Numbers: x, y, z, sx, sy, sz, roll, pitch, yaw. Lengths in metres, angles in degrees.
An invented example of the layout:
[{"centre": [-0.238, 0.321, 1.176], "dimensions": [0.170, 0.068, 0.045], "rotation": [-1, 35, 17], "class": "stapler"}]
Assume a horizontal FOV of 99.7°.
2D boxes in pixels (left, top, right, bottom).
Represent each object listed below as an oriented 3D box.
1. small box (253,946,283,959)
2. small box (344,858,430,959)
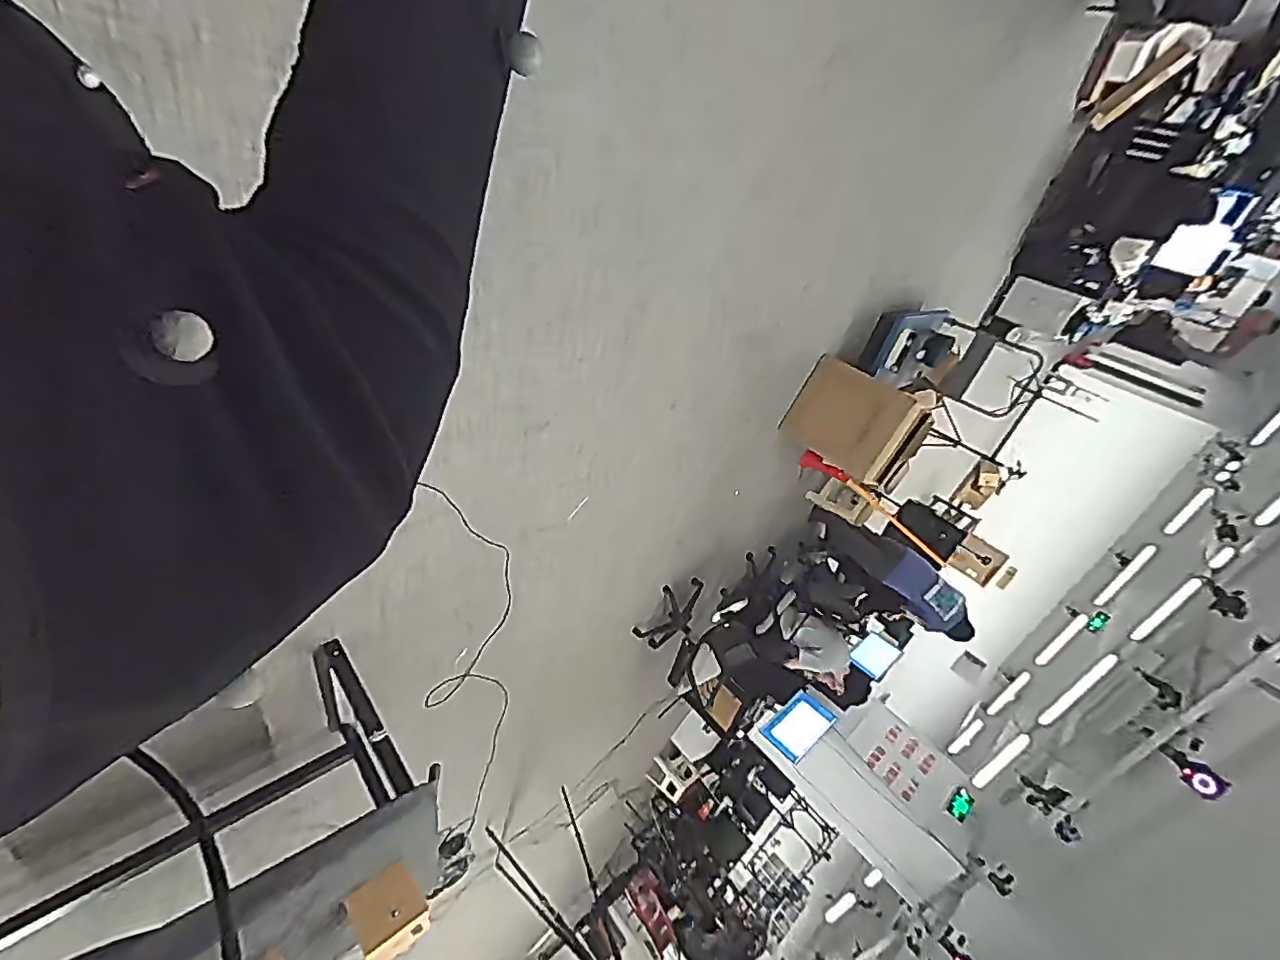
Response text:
[{"centre": [-0.970, 1.329, 1.353], "dimensions": [0.168, 0.176, 0.179], "rotation": [-19, 136, -41], "class": "small box"}, {"centre": [-0.732, 1.253, 1.570], "dimensions": [0.179, 0.176, 0.168], "rotation": [-20, 137, -38], "class": "small box"}]
